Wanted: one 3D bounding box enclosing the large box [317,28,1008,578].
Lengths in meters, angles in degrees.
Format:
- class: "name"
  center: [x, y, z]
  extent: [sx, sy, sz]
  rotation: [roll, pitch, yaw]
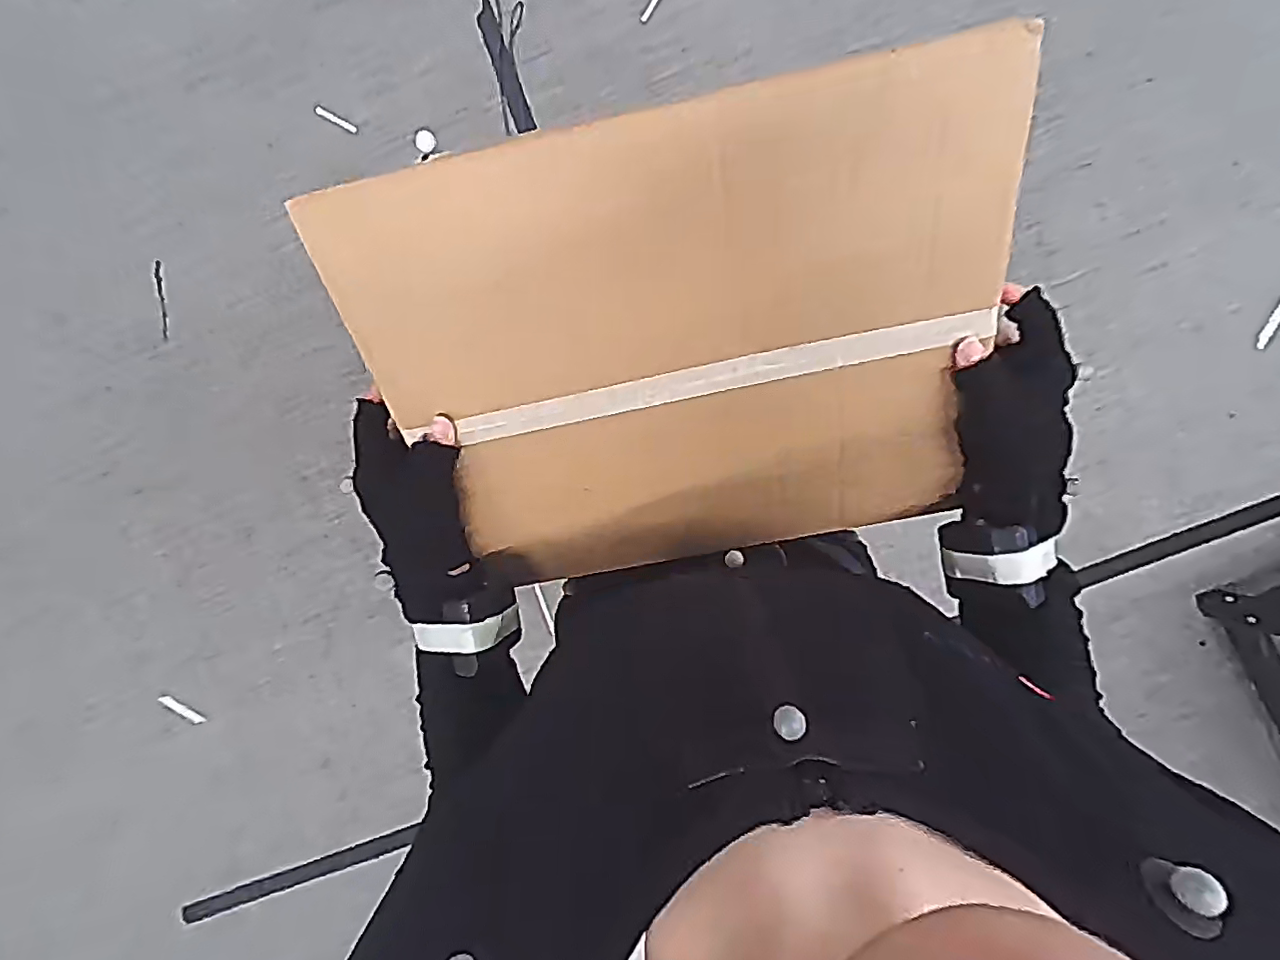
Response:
- class: "large box"
  center: [0.025, -0.155, 0.504]
  extent: [0.408, 0.320, 0.320]
  rotation: [-11, 125, 5]
